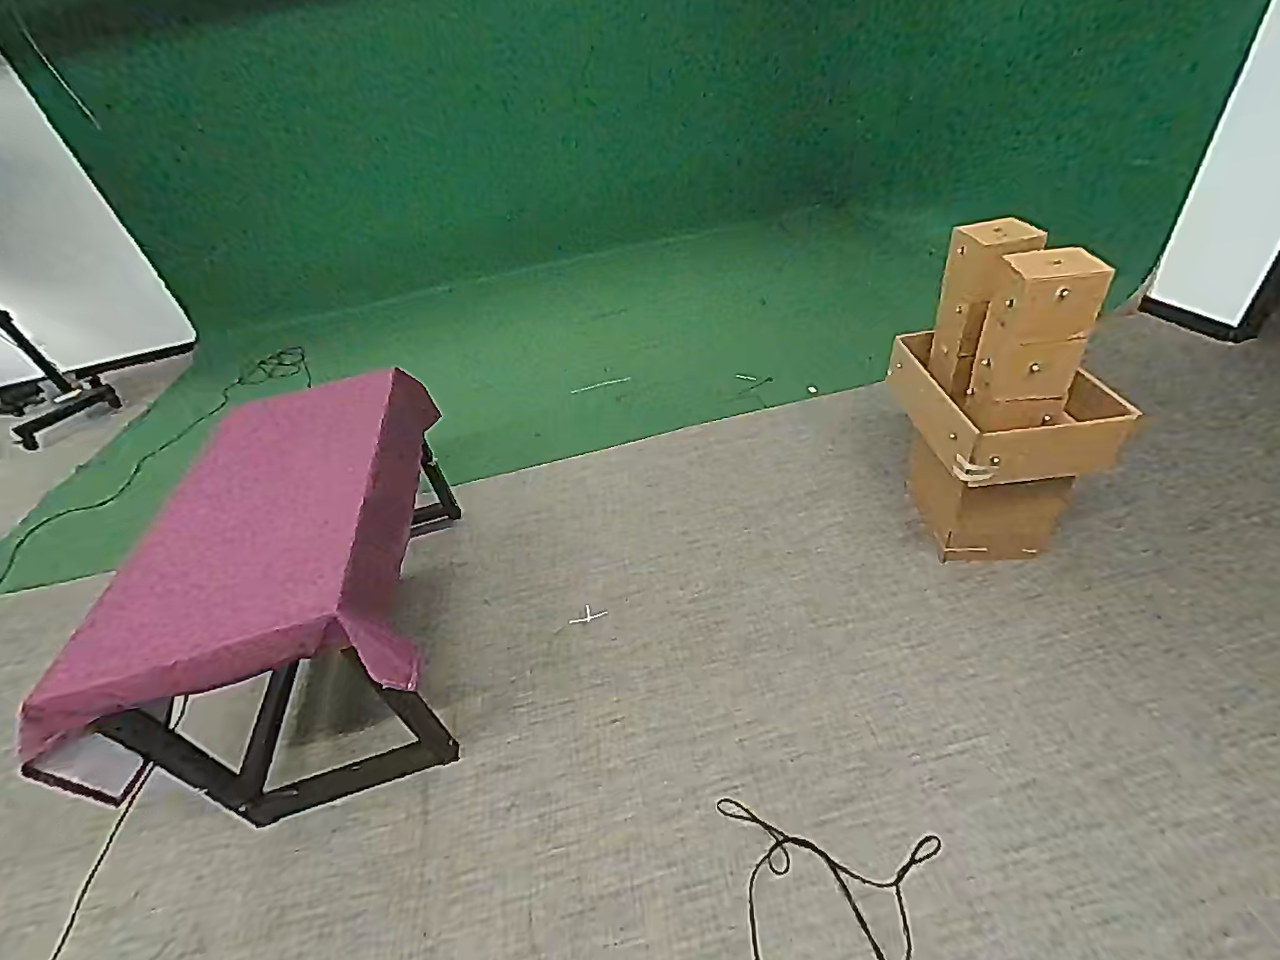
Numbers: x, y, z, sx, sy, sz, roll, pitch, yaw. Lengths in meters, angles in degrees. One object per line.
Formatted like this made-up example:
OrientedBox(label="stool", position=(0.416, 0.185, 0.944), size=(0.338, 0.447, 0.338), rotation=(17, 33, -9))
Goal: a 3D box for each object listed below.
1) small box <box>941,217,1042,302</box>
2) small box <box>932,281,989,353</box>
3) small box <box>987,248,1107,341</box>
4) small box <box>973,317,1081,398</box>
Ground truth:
OrientedBox(label="small box", position=(0.998, -0.633, 1.555), size=(0.168, 0.176, 0.179), rotation=(-9, 41, 4))
OrientedBox(label="small box", position=(1.026, -0.510, 1.661), size=(0.168, 0.176, 0.179), rotation=(-8, 41, 5))
OrientedBox(label="small box", position=(0.991, -0.456, 1.340), size=(0.179, 0.176, 0.168), rotation=(-1, 41, 11))
OrientedBox(label="small box", position=(1.015, -0.331, 1.443), size=(0.179, 0.176, 0.168), rotation=(-3, 40, 11))
